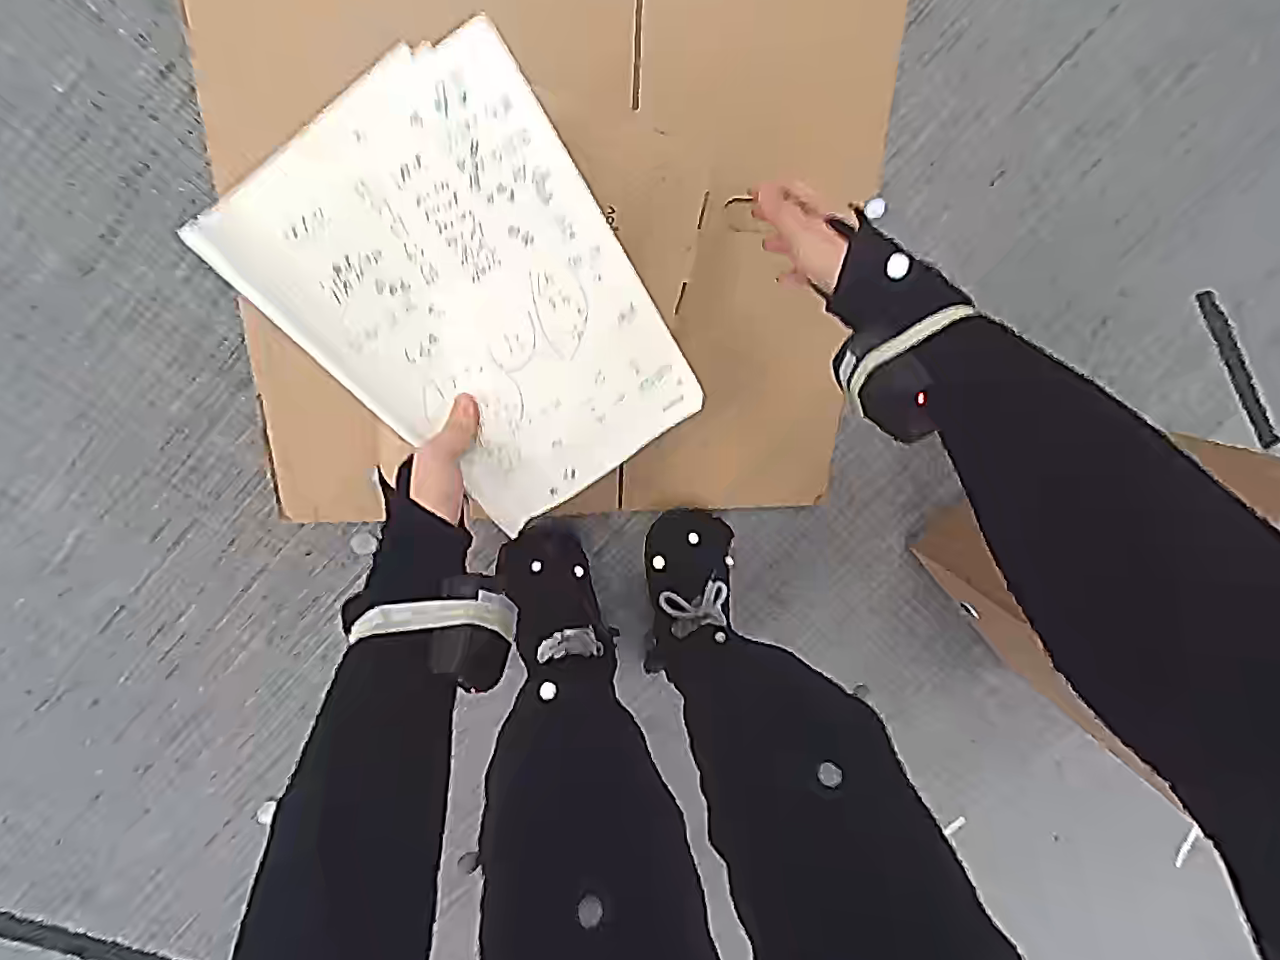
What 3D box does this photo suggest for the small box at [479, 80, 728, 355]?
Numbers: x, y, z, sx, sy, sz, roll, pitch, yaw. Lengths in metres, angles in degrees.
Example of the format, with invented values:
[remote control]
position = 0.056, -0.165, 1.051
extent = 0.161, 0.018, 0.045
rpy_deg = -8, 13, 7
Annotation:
[small box]
position = -0.048, -0.228, 0.507
extent = 0.179, 0.176, 0.168
rpy_deg = 9, 108, -18
